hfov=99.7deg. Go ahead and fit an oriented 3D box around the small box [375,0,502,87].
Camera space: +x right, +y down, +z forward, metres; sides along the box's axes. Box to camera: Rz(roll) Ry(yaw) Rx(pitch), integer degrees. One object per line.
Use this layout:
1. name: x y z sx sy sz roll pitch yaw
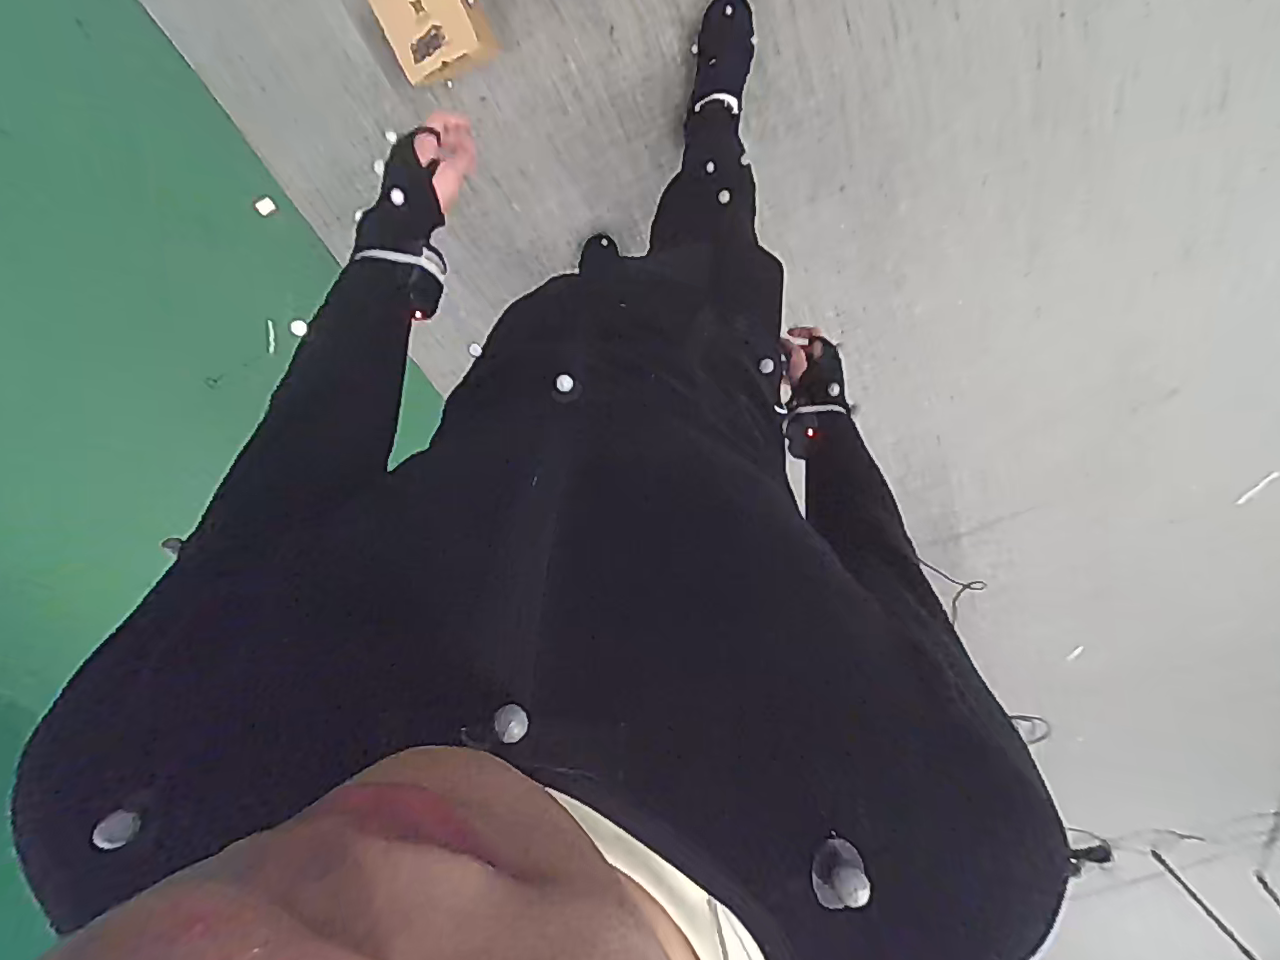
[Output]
1. small box: -0.404 -0.933 1.098 0.168 0.176 0.179 -16 122 13
